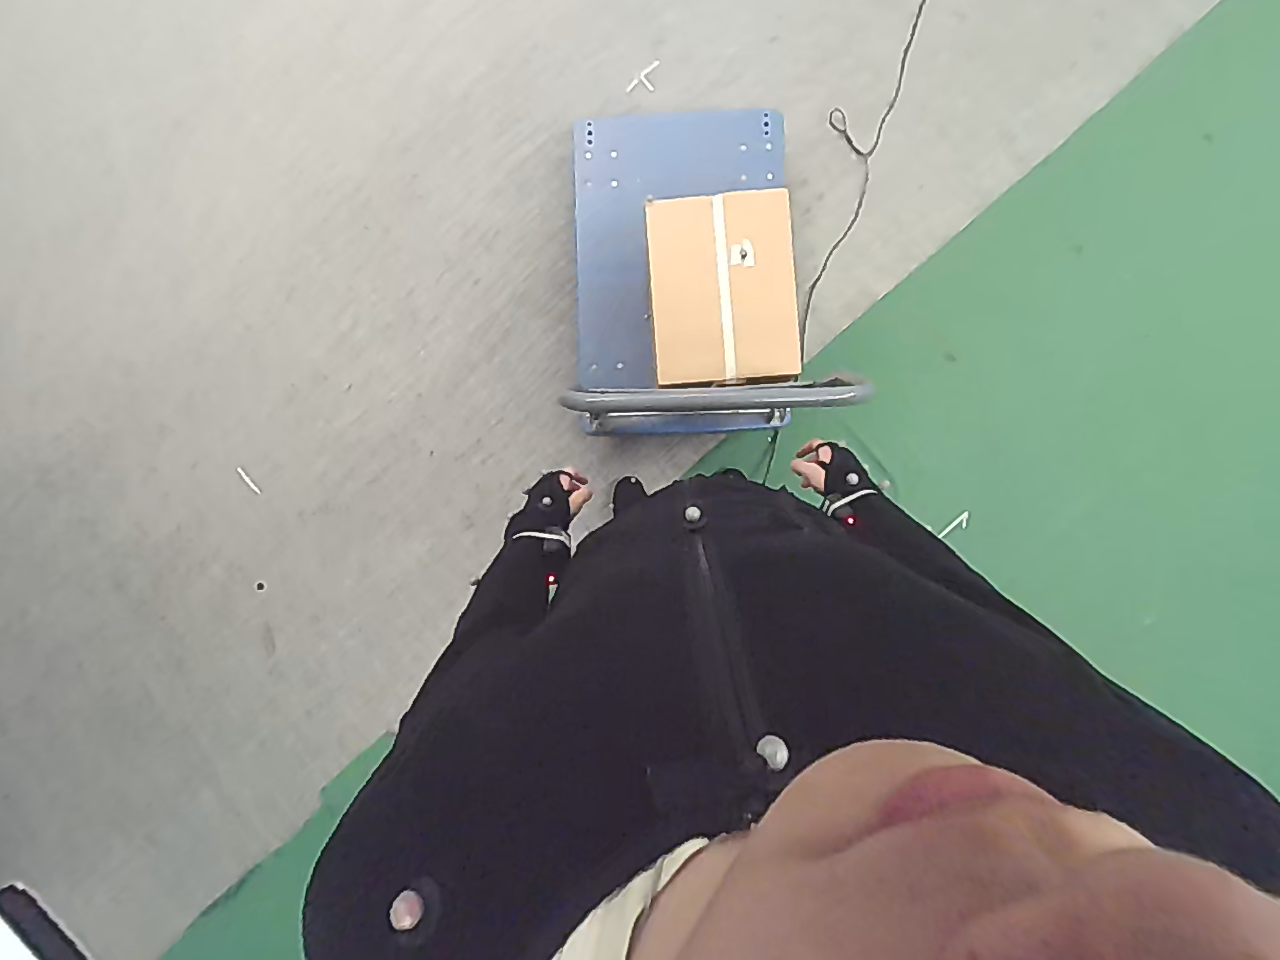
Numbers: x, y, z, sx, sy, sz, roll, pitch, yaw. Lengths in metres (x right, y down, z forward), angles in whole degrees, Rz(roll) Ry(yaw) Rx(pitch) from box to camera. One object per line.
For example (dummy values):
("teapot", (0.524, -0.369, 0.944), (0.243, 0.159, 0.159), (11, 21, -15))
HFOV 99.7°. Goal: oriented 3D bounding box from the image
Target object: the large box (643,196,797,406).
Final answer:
("large box", (0.181, -0.414, 1.341), (0.320, 0.320, 0.408), (-4, 89, 1))
